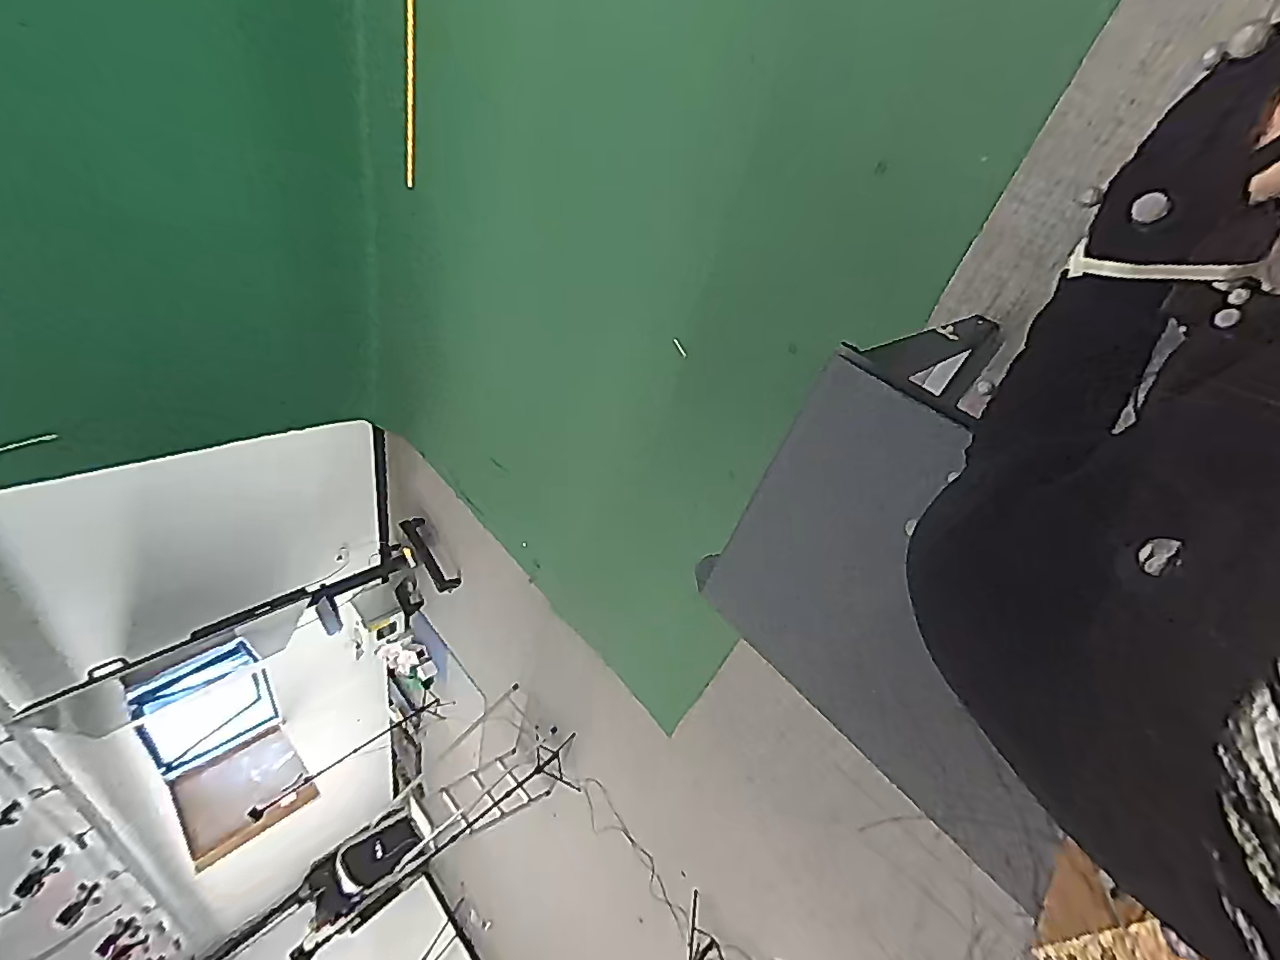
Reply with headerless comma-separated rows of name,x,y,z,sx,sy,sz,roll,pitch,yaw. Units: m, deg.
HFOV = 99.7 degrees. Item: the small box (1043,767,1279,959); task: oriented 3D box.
small box,0.500,0.389,0.457,0.168,0.176,0.179,43,134,26
